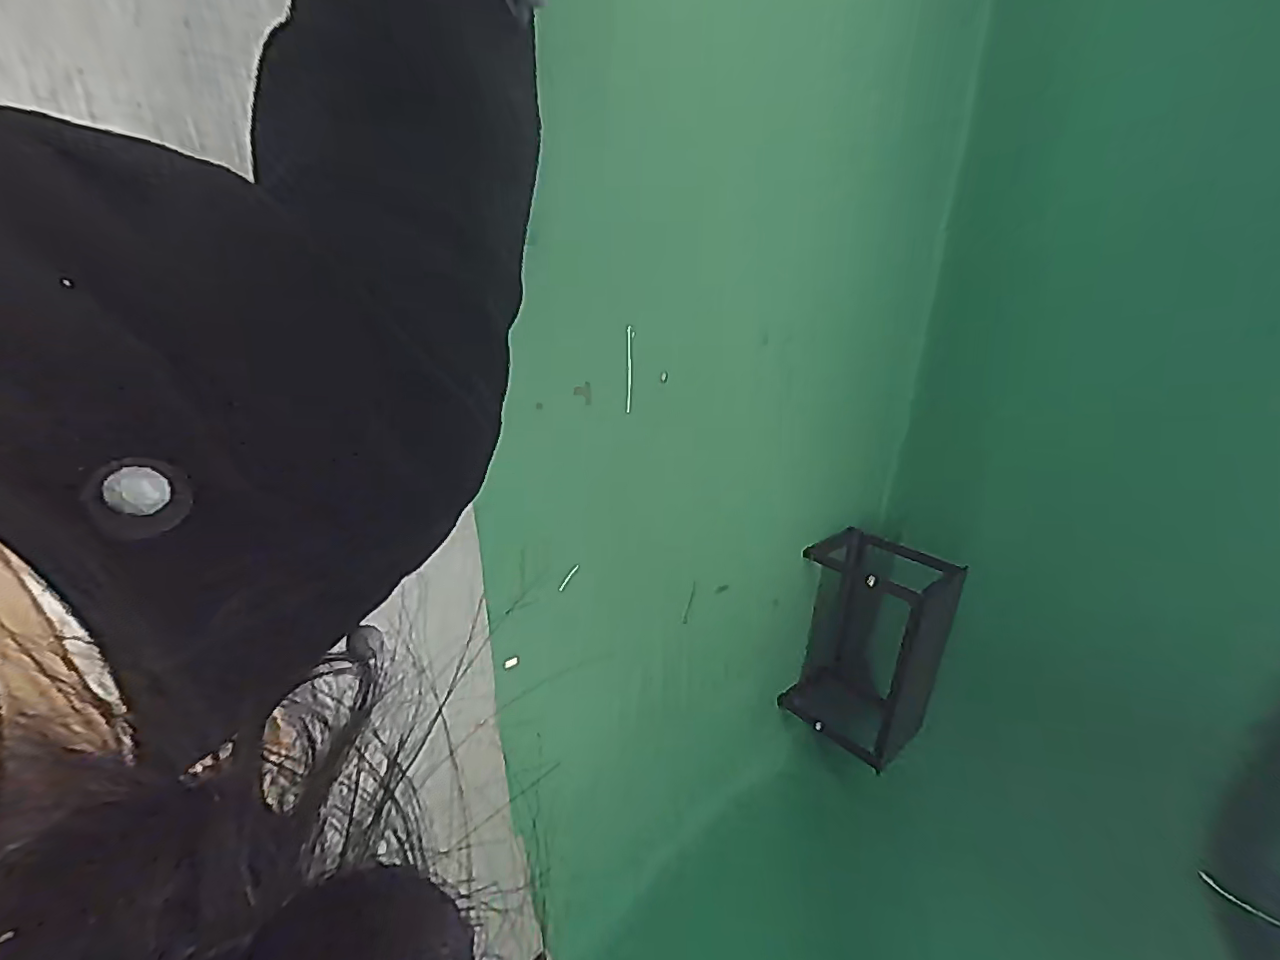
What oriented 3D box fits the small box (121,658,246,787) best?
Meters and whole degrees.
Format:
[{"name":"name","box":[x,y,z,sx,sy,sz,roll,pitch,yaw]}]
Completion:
[{"name":"small box","box":[-1.050,0.548,1.248,0.179,0.176,0.168,-23,120,-34]}]

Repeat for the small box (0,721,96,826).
[{"name":"small box","box":[-1.254,0.631,1.091,0.179,0.176,0.168,-26,122,-34]}]
